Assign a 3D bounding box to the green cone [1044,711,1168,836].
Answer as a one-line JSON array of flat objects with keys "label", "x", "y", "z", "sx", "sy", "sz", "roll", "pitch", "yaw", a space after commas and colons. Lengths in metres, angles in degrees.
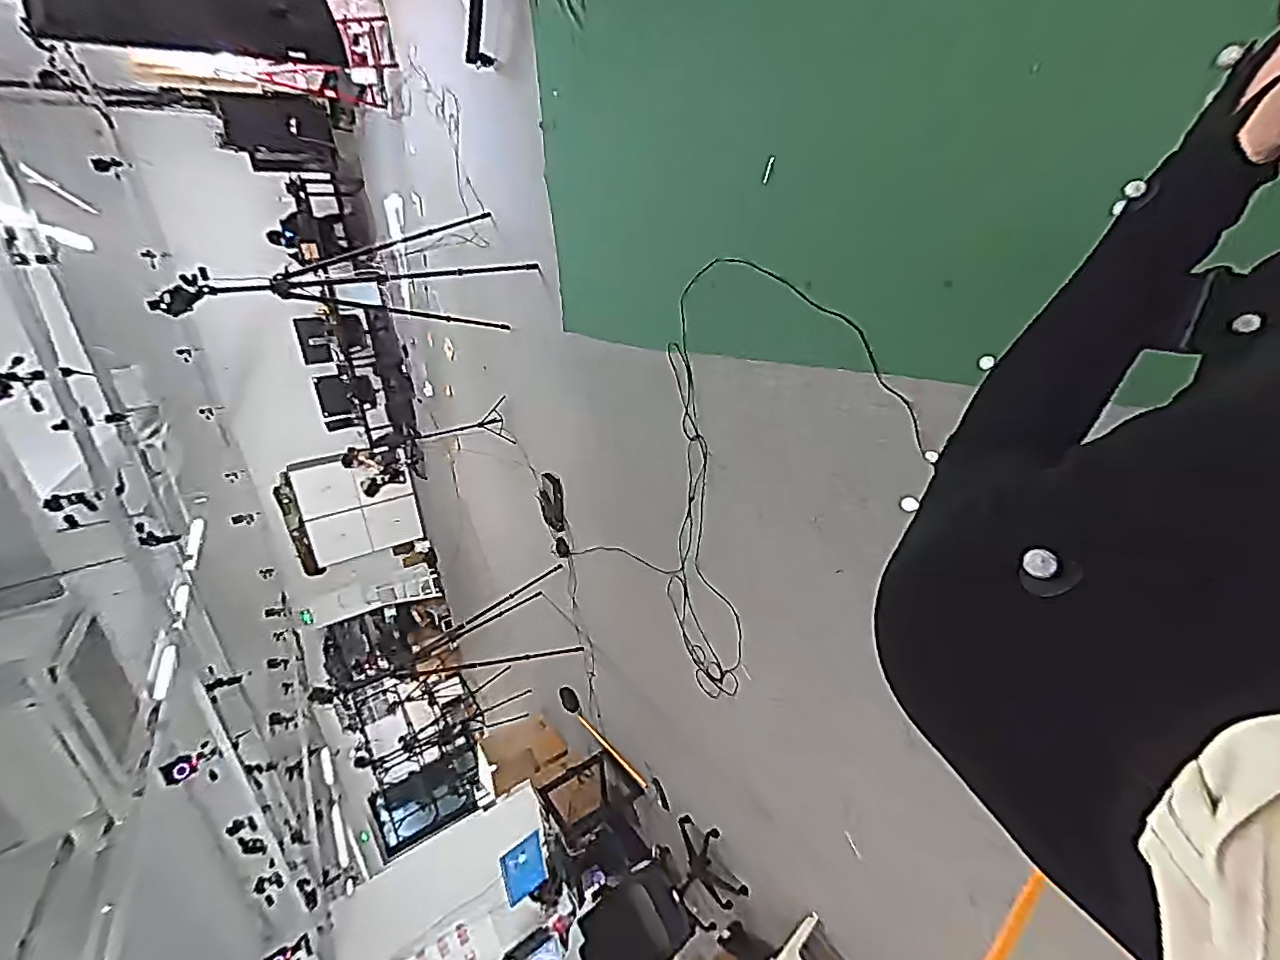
[{"label": "green cone", "x": 1.155, "y": 0.801, "z": 1.397, "sx": 0.202, "sy": 0.368, "sz": 0.200, "roll": 27, "pitch": 126, "yaw": 51}]
